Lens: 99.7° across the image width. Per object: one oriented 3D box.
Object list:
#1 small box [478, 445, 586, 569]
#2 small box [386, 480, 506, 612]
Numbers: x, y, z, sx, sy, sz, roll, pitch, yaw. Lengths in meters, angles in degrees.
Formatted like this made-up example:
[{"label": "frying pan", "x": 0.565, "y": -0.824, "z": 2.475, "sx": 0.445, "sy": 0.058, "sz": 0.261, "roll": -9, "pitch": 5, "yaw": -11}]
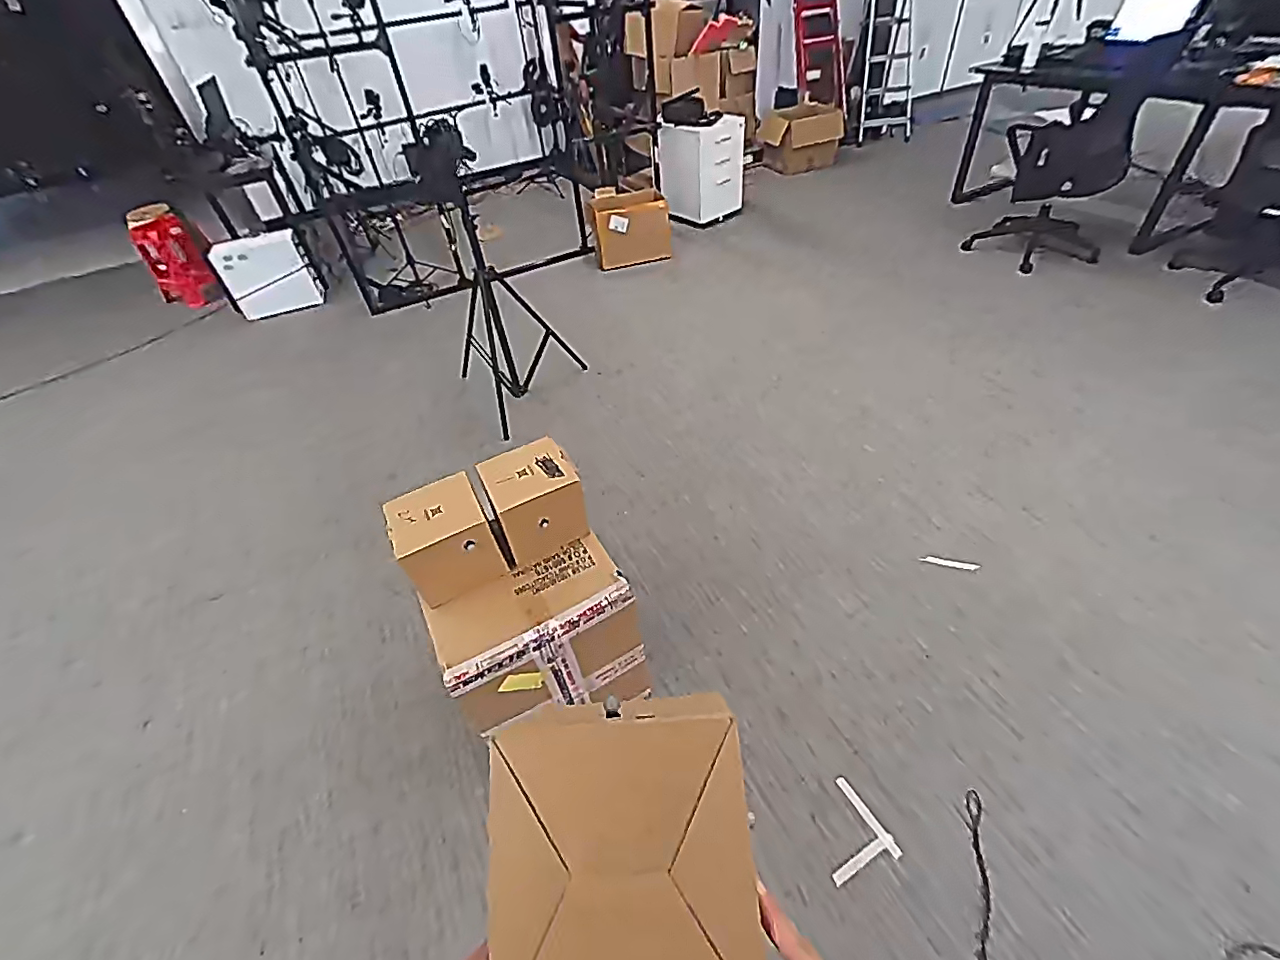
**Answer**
[{"label": "small box", "x": -0.227, "y": 0.060, "z": 1.174, "sx": 0.179, "sy": 0.176, "sz": 0.168, "roll": -23, "pitch": 47, "yaw": -17}, {"label": "small box", "x": -0.391, "y": 0.136, "z": 1.115, "sx": 0.179, "sy": 0.176, "sz": 0.168, "roll": -25, "pitch": 46, "yaw": -14}]
